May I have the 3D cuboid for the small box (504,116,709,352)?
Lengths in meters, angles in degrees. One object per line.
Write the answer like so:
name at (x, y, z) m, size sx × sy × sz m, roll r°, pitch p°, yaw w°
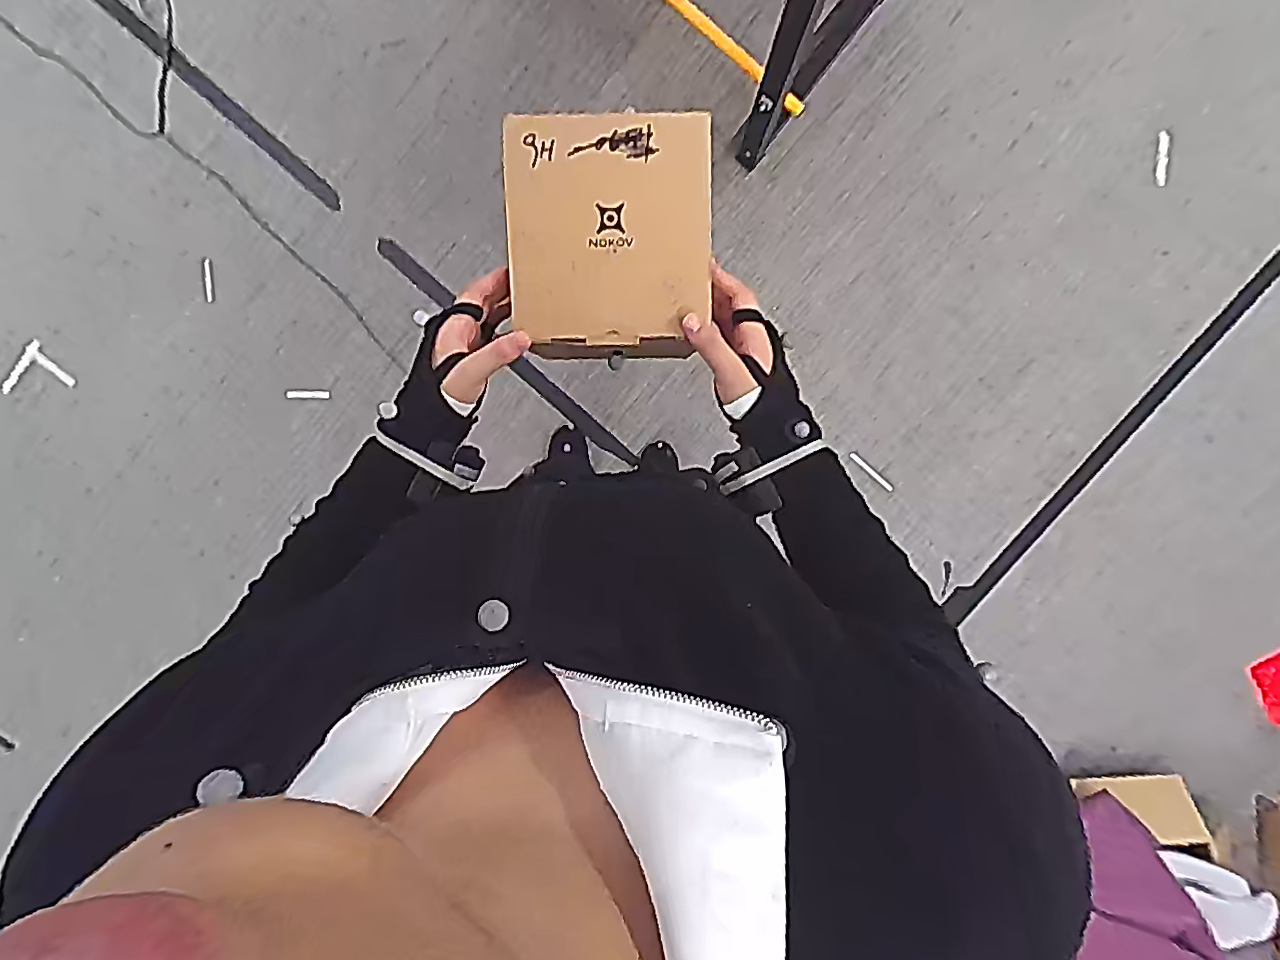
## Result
small box at (-0.026, -0.216, 0.521) m, size 0.168 × 0.176 × 0.179 m, roll -1°, pitch 99°, yaw -1°
